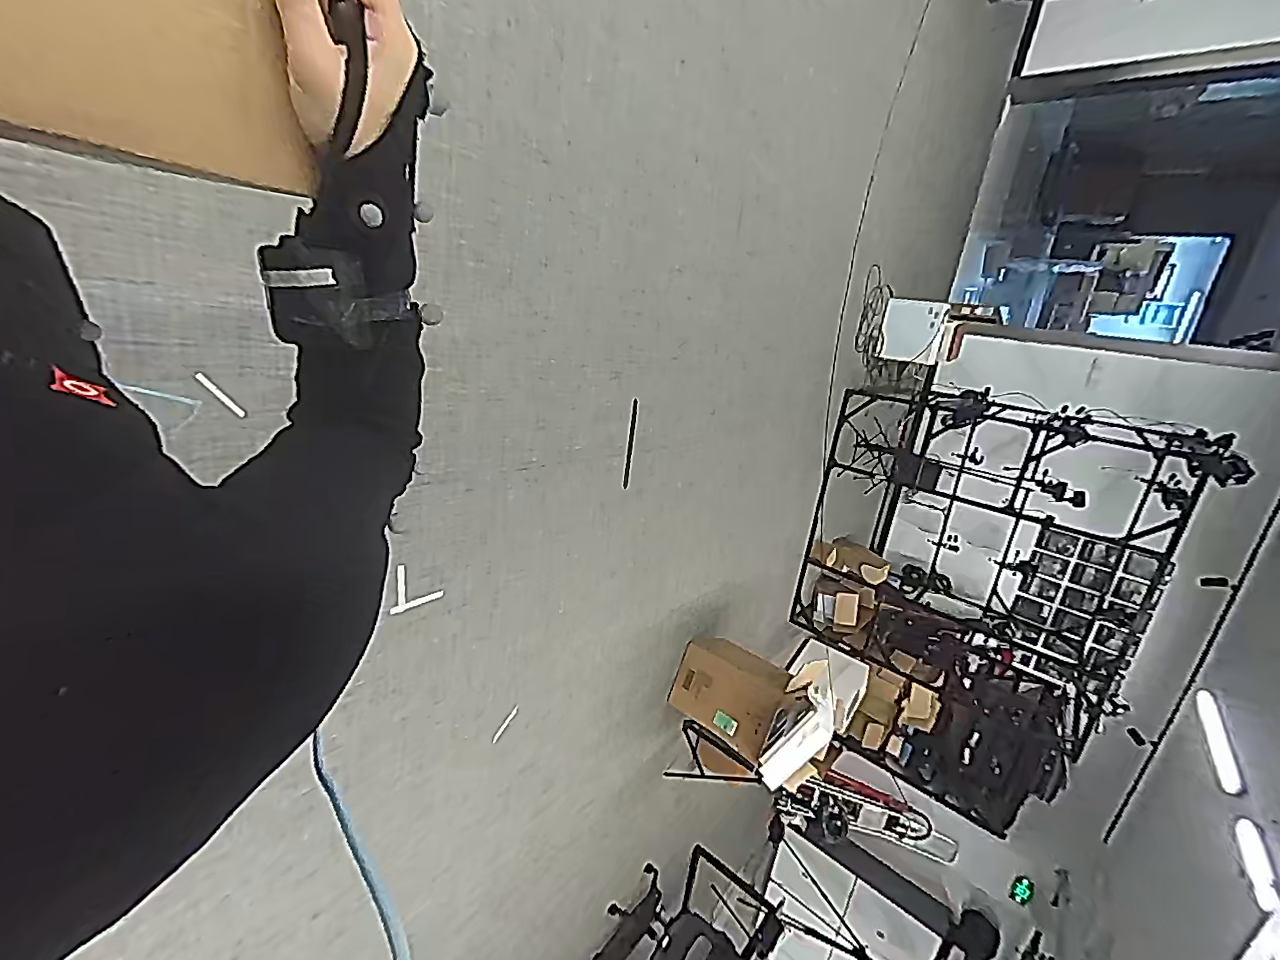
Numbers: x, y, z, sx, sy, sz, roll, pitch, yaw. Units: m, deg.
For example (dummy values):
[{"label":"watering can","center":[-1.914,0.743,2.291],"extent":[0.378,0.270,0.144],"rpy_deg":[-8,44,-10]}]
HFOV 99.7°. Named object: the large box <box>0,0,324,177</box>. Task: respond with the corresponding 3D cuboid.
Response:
[{"label":"large box","center":[-0.391,-0.333,0.181],"extent":[0.408,0.320,0.320],"rpy_deg":[-18,126,-56]}]
